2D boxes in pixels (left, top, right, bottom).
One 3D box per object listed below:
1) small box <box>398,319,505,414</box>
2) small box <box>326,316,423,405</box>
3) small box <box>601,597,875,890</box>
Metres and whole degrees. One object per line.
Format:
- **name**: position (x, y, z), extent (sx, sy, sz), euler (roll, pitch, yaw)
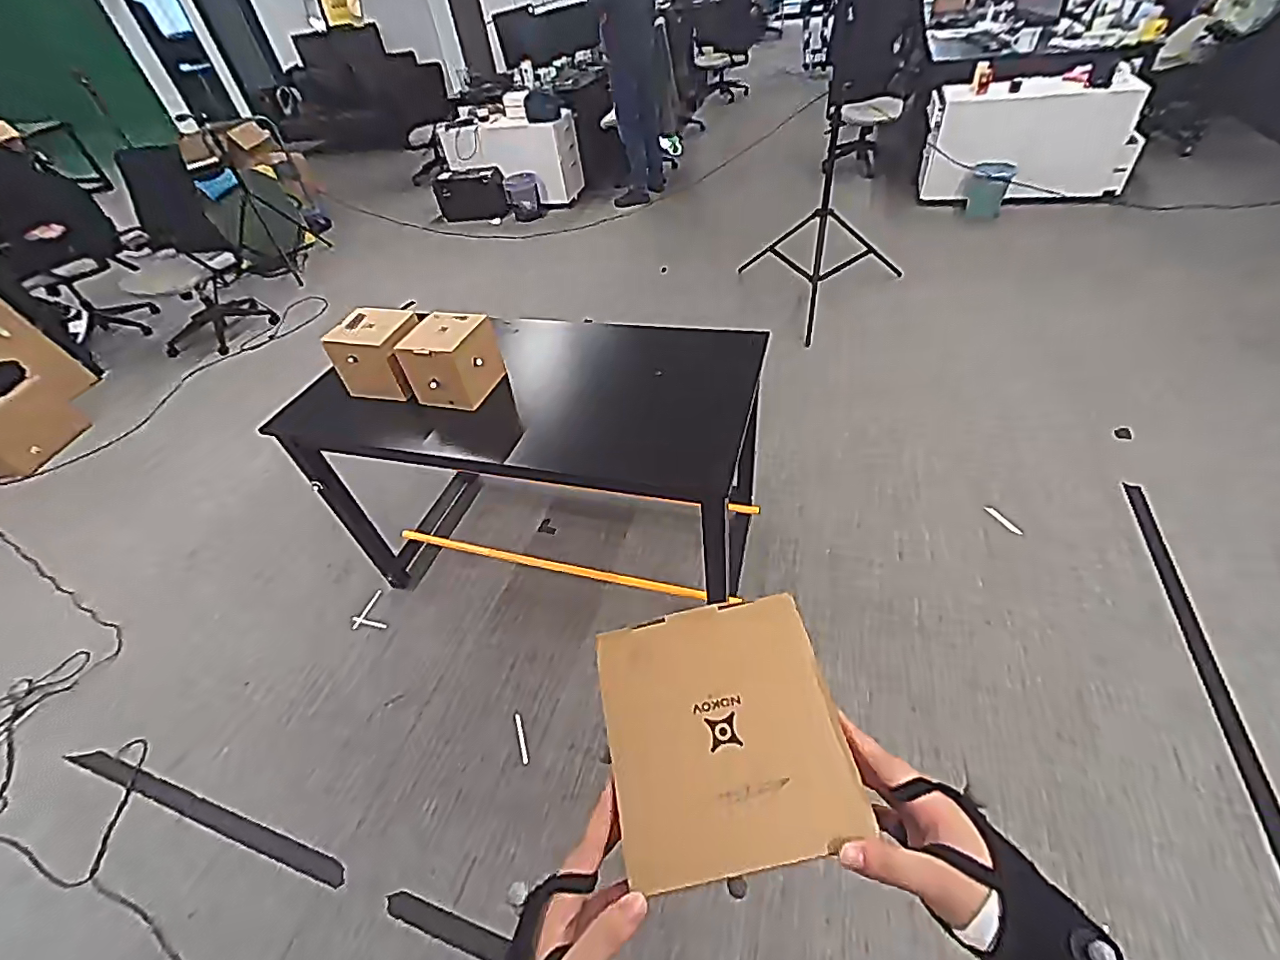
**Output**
- **small box**: position (-0.464, -0.286, 1.366), extent (0.168, 0.176, 0.179), euler (8, 47, 17)
- **small box**: position (-0.669, -0.314, 1.426), extent (0.179, 0.176, 0.168), euler (7, 47, 14)
- **small box**: position (0.068, 0.226, 0.463), extent (0.168, 0.176, 0.179), euler (-12, 55, -1)
